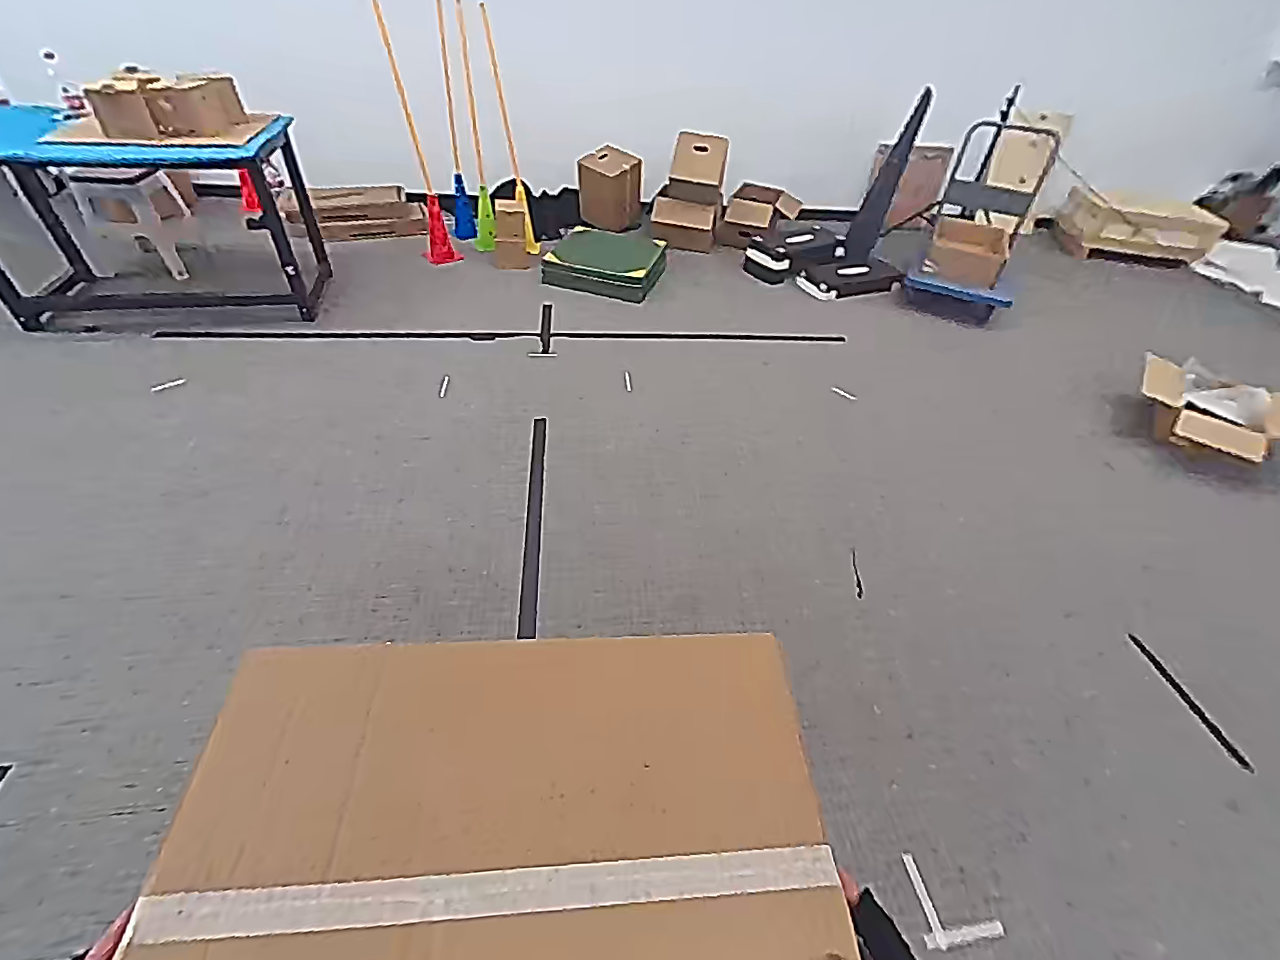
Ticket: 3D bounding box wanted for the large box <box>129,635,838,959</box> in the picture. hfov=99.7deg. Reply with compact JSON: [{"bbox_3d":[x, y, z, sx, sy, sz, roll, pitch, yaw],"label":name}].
[{"bbox_3d":[-0.093,0.342,0.443,0.408,0.320,0.320,0,49,-6],"label":"large box"}]
